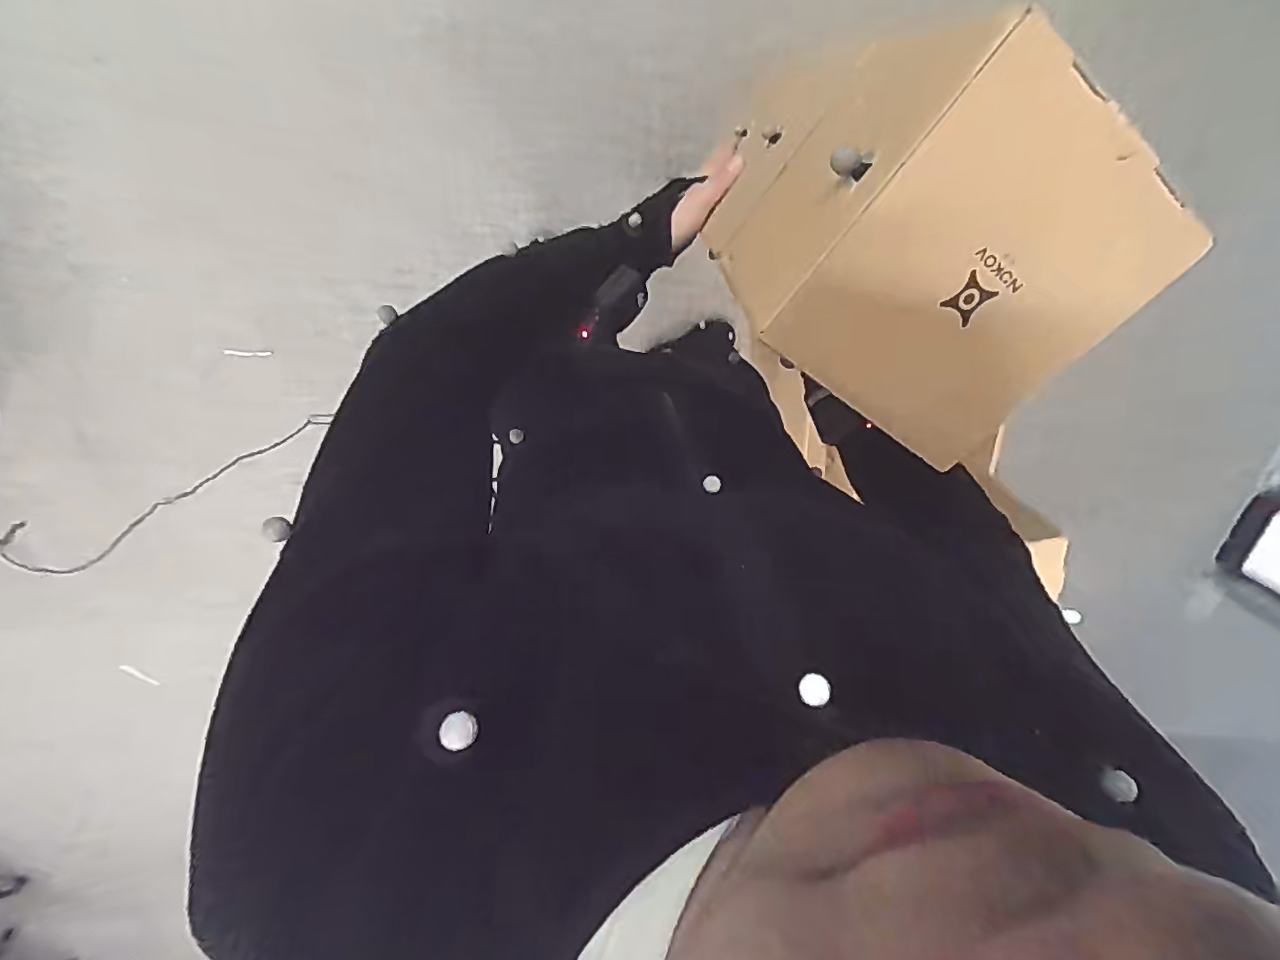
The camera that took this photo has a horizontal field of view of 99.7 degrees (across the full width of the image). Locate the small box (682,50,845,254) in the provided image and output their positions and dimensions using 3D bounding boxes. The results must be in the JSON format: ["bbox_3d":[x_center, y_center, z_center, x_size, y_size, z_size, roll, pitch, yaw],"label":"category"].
[{"bbox_3d":[0.162,-0.333,0.611,0.168,0.176,0.179,29,119,-20],"label":"small box"}]

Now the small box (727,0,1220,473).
[{"bbox_3d":[0.173,-0.143,0.347,0.168,0.176,0.179,28,118,-19],"label":"small box"}]
